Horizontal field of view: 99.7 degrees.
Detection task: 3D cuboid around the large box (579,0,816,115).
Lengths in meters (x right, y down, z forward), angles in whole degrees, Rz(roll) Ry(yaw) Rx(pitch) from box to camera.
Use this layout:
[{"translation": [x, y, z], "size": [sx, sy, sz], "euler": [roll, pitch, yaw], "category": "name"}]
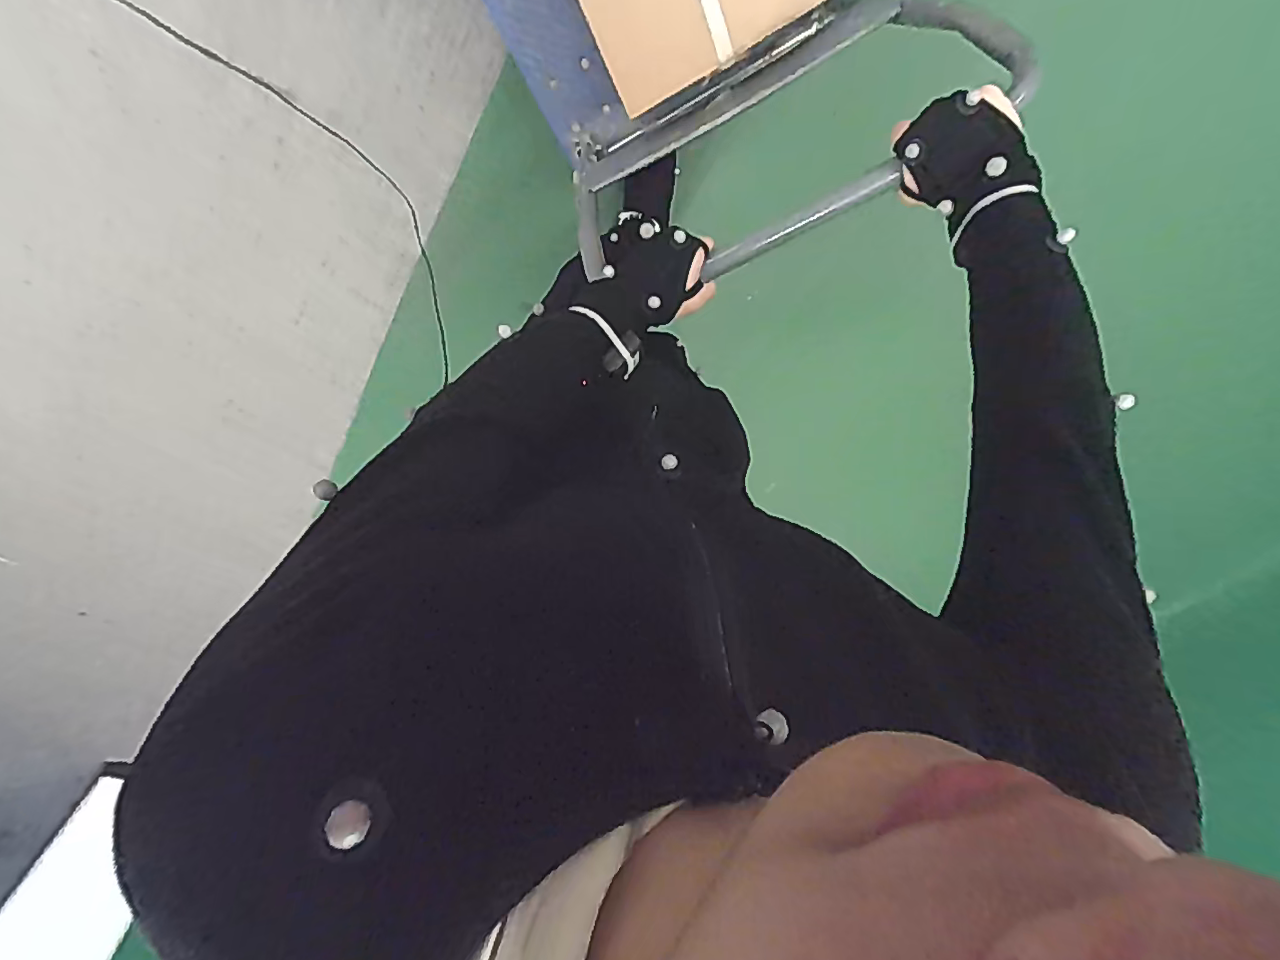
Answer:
[{"translation": [0.029, -0.835, 0.785], "size": [0.320, 0.320, 0.408], "euler": [-23, 126, 15], "category": "large box"}]
